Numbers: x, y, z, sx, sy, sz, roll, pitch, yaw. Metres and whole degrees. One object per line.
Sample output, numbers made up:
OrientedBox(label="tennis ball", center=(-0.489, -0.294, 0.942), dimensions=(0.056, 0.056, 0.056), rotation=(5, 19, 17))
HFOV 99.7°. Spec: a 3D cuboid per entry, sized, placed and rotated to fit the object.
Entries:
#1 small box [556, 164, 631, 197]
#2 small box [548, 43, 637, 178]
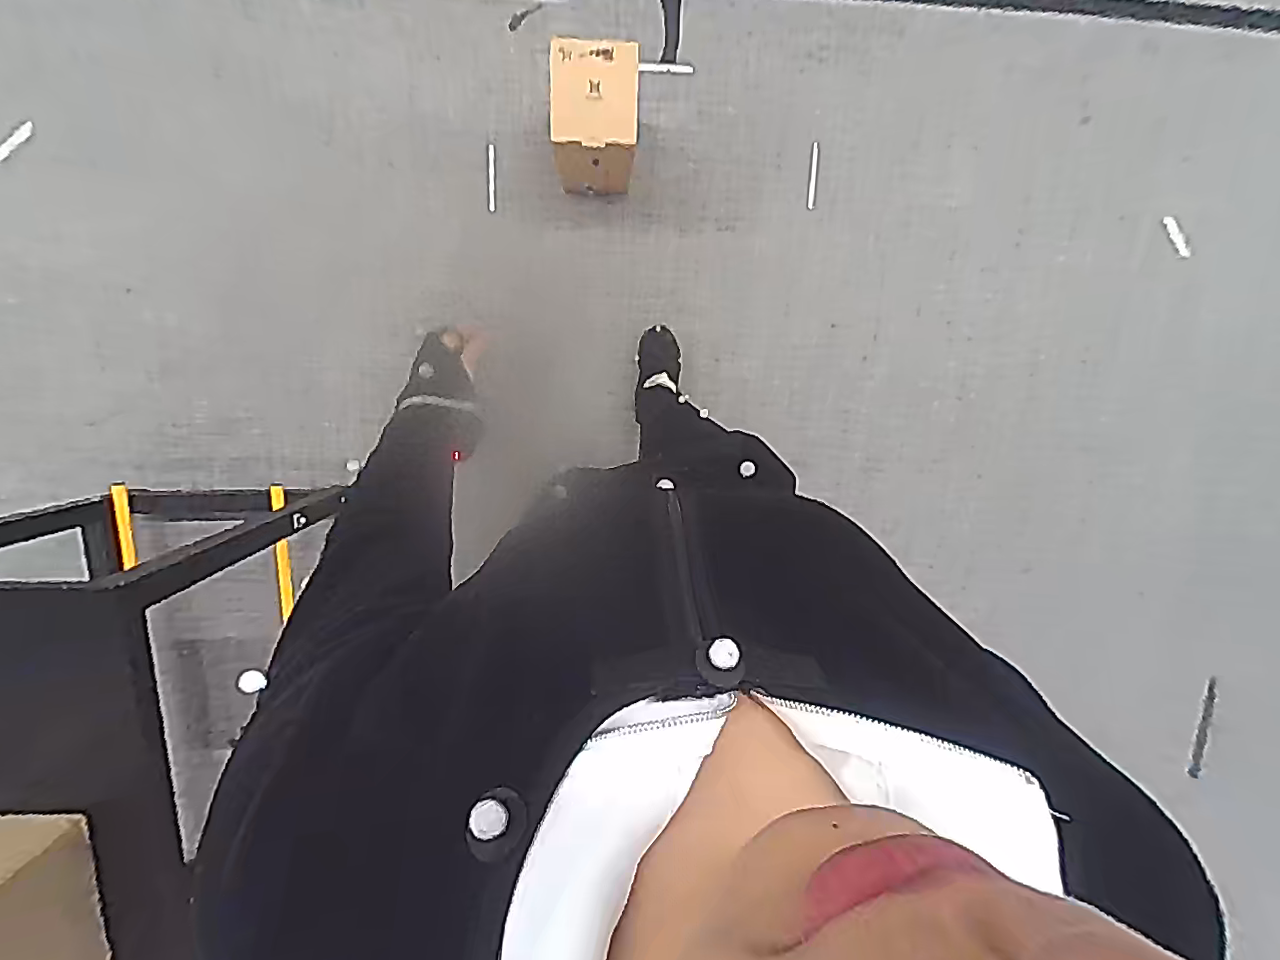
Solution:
OrientedBox(label="small box", center=(-0.104, -0.775, 1.244), dimensions=(0.168, 0.176, 0.179), rotation=(0, 102, -2))
OrientedBox(label="small box", center=(-0.092, -0.729, 1.086), dimensions=(0.168, 0.176, 0.179), rotation=(1, 101, -3))
